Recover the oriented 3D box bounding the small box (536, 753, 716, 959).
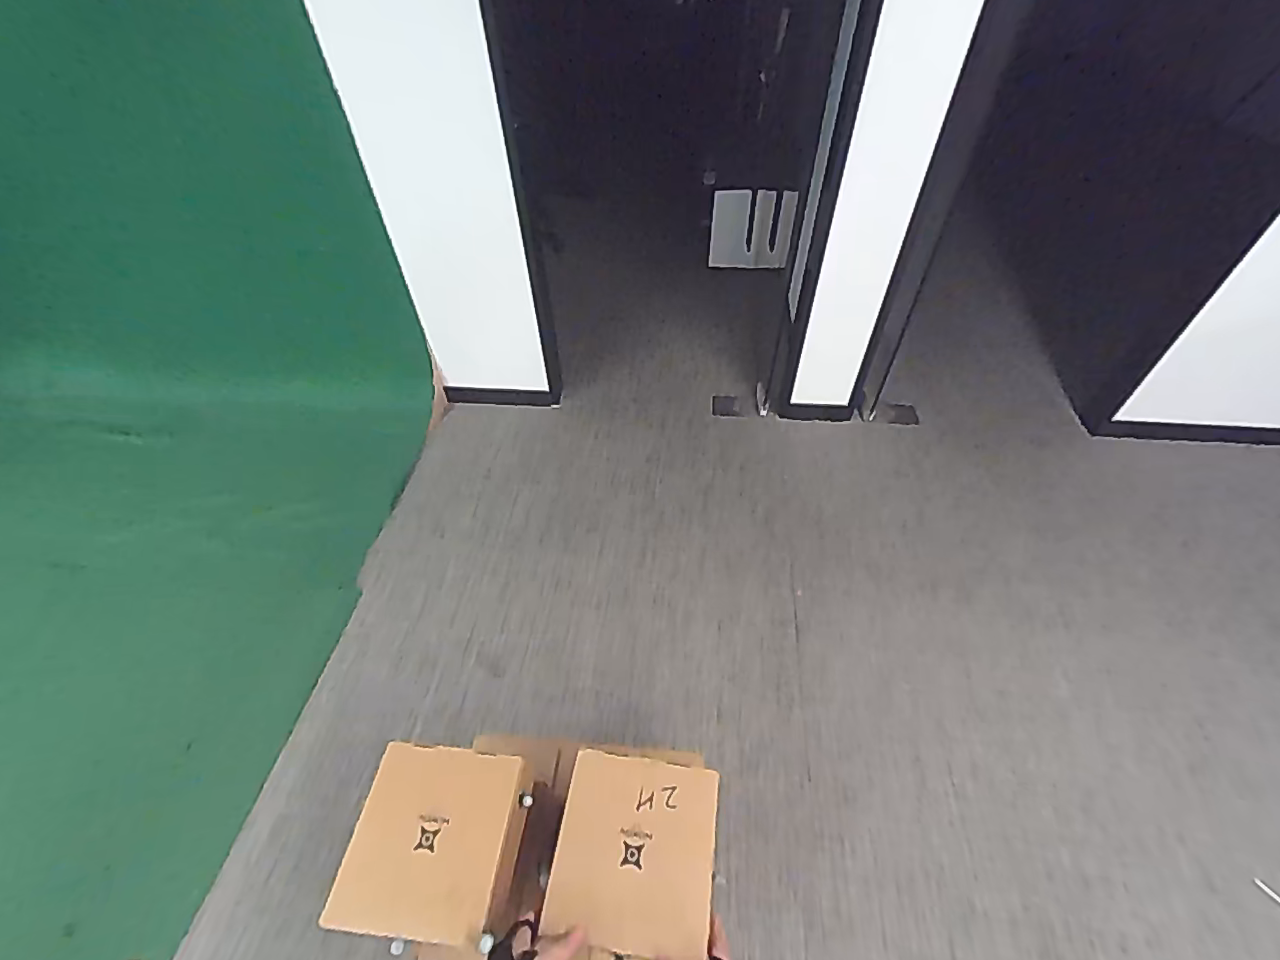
[{"bbox_3d":[-0.004,0.450,0.635,0.168,0.176,0.179,7,49,9],"label":"small box"}]

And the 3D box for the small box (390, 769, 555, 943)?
[{"bbox_3d":[-0.224,0.544,0.783,0.168,0.176,0.179,5,50,5],"label":"small box"}]
